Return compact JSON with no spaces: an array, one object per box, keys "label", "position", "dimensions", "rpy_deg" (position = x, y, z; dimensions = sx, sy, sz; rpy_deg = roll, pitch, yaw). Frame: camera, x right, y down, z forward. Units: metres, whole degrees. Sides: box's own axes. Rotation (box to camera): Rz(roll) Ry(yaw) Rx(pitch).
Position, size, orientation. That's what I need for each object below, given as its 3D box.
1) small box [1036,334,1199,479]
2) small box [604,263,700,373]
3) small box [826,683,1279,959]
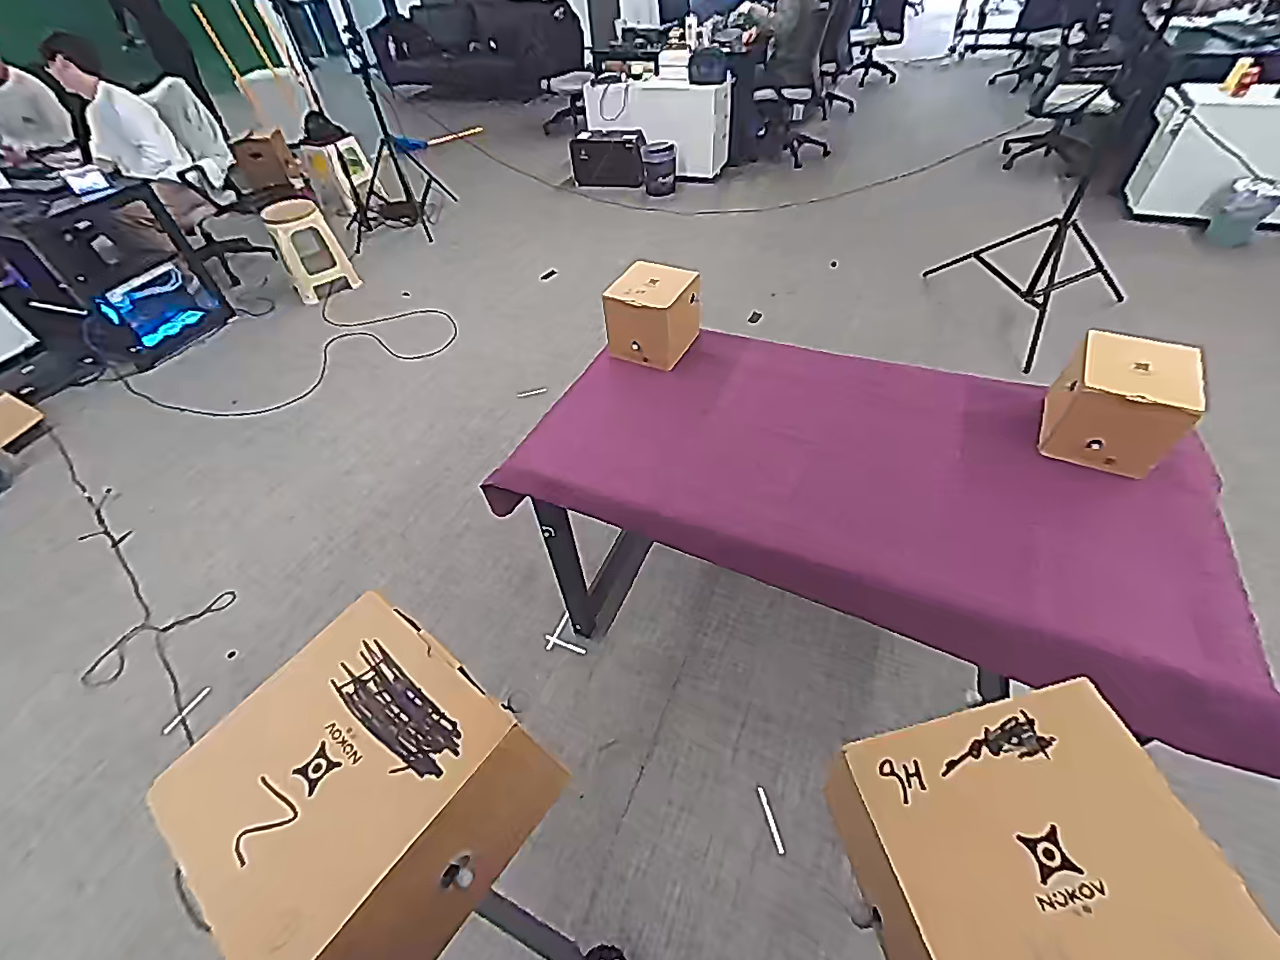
[{"label":"small box","position":[0.858,-0.134,0.988],"dimensions":[0.168,0.176,0.179],"rpy_deg":[20,56,22]},{"label":"small box","position":[0.032,-0.387,1.292],"dimensions":[0.168,0.176,0.179],"rpy_deg":[20,54,21]},{"label":"small box","position":[0.241,0.264,0.361],"dimensions":[0.168,0.176,0.179],"rpy_deg":[-16,52,0]}]
